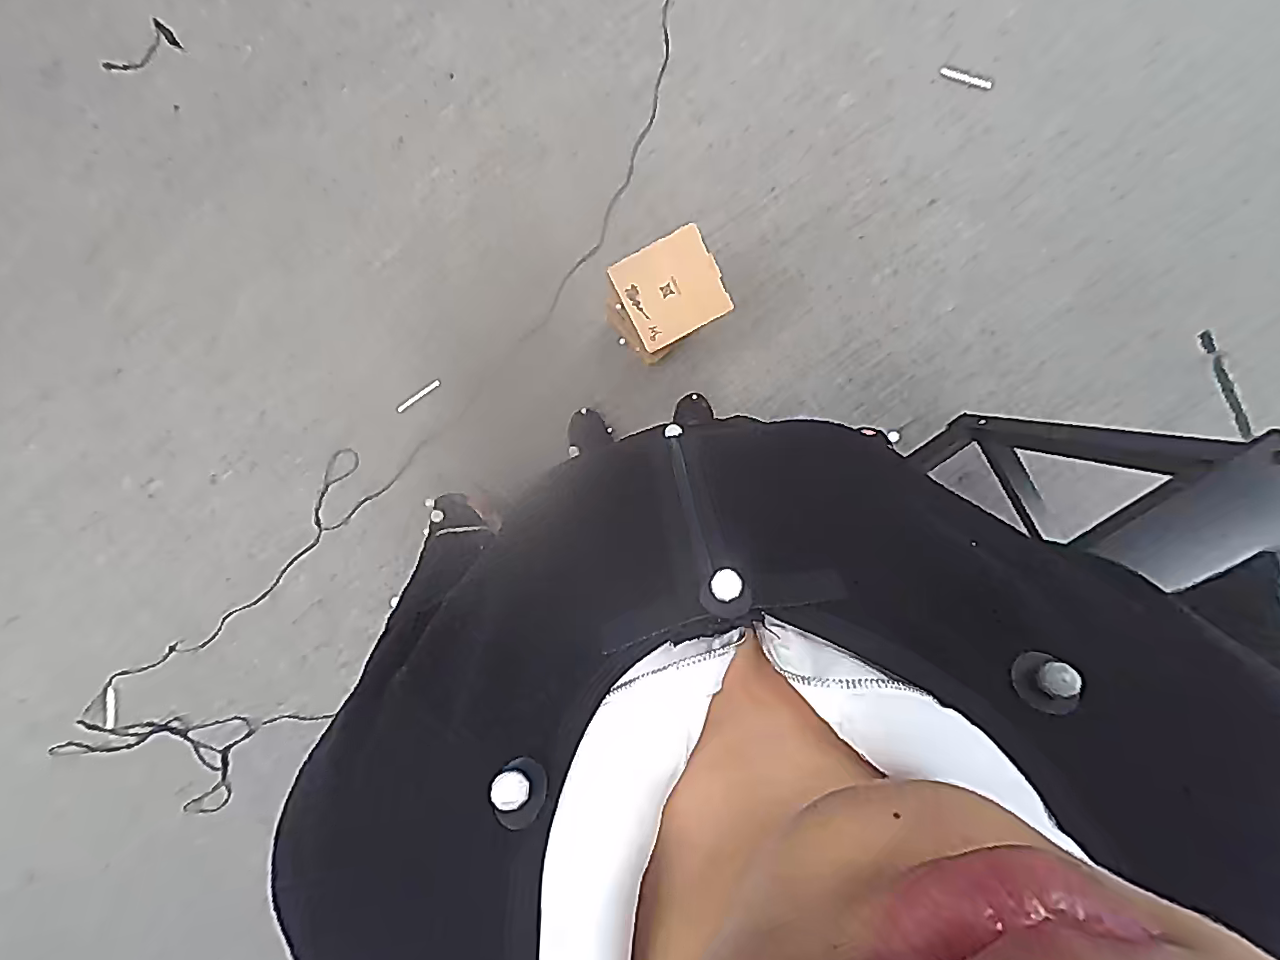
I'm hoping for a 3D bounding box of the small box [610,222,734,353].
[{"bbox_3d":[0.052,-0.356,1.032,0.179,0.176,0.168,-28,100,2],"label":"small box"}]

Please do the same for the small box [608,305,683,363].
[{"bbox_3d":[0.036,-0.410,1.353,0.179,0.176,0.168,-38,99,6],"label":"small box"}]

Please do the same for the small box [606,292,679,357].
[{"bbox_3d":[0.044,-0.387,1.193,0.179,0.176,0.168,-42,100,4],"label":"small box"}]
